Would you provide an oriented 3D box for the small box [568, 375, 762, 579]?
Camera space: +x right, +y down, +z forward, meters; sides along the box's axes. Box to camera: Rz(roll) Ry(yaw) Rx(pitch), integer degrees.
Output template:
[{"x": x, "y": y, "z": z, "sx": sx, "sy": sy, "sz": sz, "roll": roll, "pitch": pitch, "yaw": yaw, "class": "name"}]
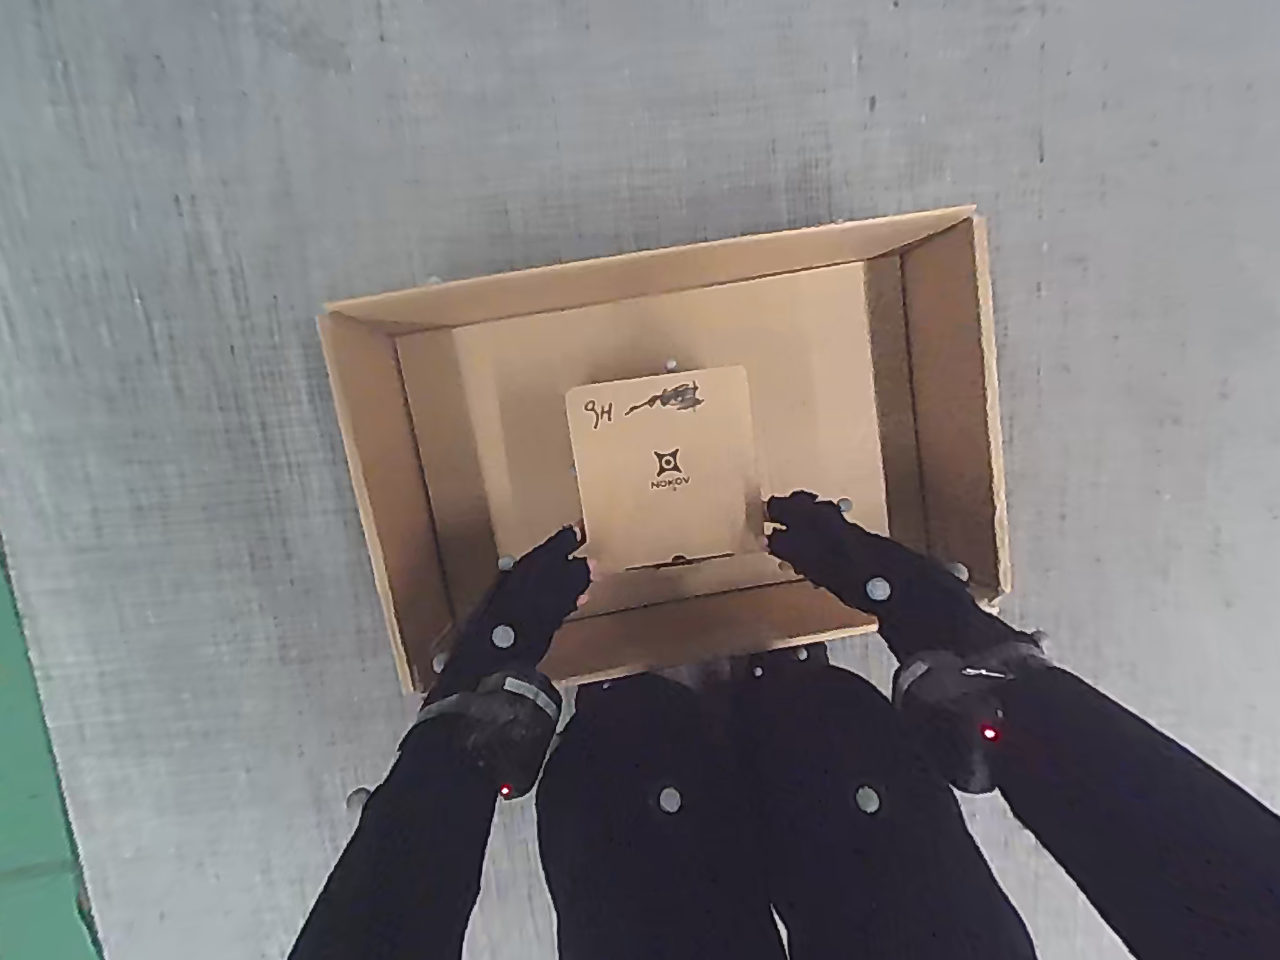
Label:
[{"x": 0.023, "y": -0.014, "z": 0.579, "sx": 0.168, "sy": 0.176, "sz": 0.179, "roll": -9, "pitch": 99, "yaw": -1, "class": "small box"}]
